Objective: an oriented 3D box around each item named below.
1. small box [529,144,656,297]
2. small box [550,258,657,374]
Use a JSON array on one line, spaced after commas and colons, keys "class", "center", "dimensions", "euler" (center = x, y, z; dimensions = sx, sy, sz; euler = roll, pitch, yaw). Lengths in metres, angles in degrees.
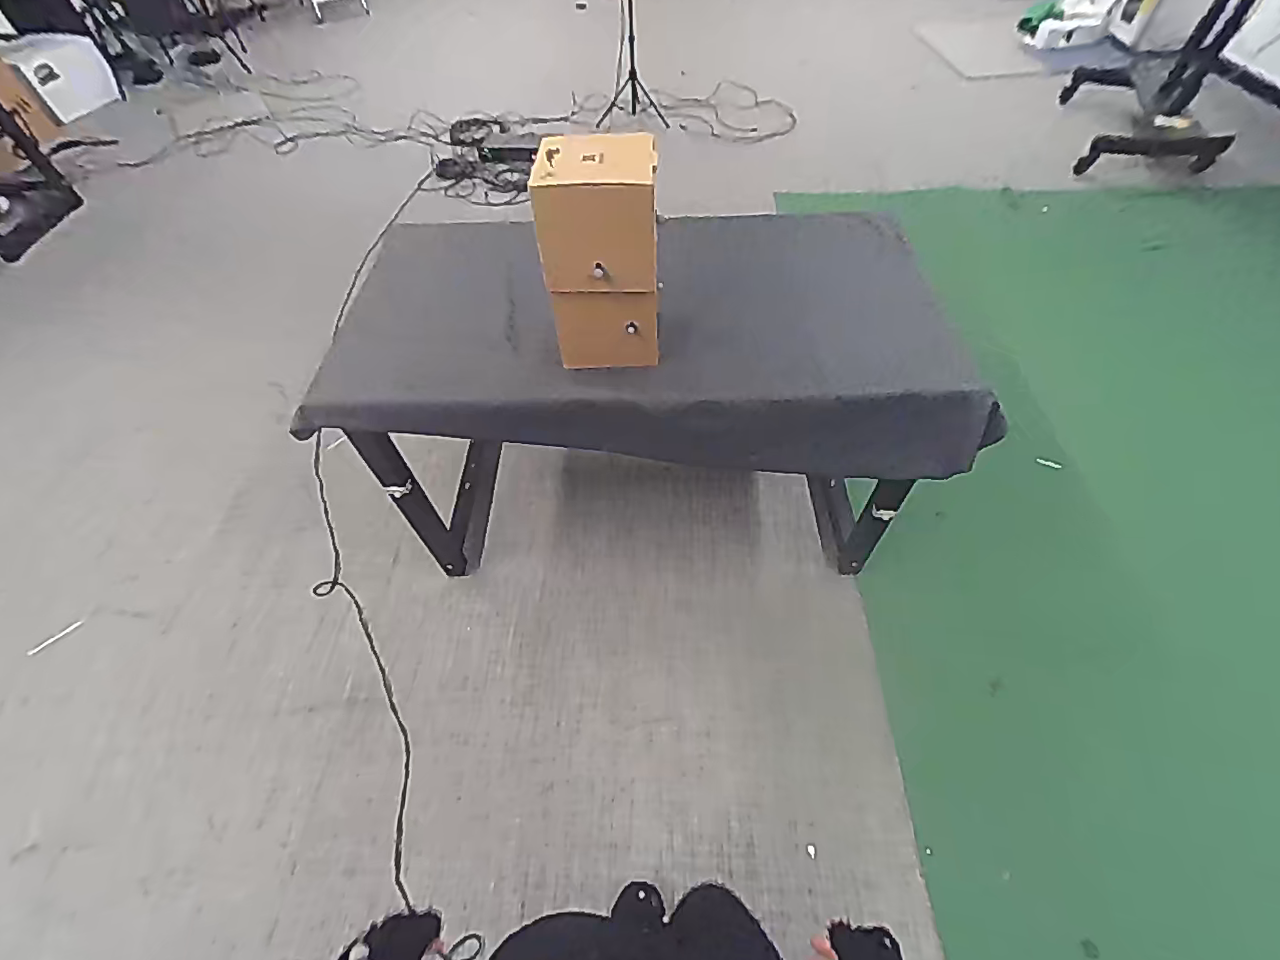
[{"class": "small box", "center": [-0.064, -0.405, 0.854], "dimensions": [0.179, 0.176, 0.168], "euler": [0, 52, 2]}, {"class": "small box", "center": [-0.058, -0.311, 0.988], "dimensions": [0.179, 0.176, 0.168], "euler": [-3, 52, 2]}]
